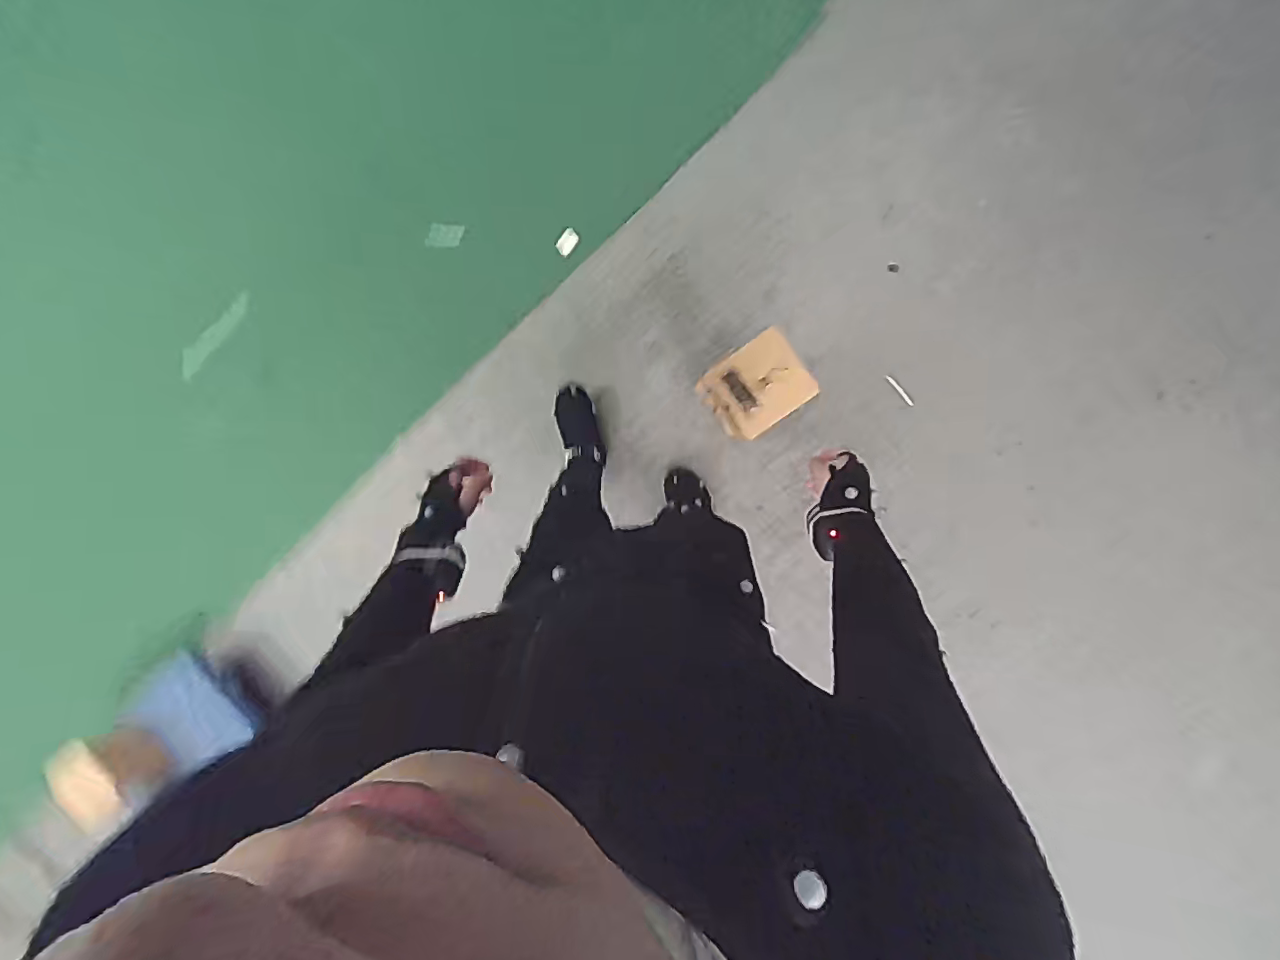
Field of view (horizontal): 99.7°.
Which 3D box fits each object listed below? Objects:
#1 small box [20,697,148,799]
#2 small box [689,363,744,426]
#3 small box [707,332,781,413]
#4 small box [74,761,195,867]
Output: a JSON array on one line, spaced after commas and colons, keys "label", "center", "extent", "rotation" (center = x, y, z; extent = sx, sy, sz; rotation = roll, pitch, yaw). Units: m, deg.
[{"label": "small box", "center": [-1.640, 0.789, 1.609], "extent": [0.168, 0.176, 0.179], "rotation": [-38, 94, 8]}, {"label": "small box", "center": [0.249, -0.264, 1.479], "extent": [0.179, 0.176, 0.168], "rotation": [-35, 94, 8]}, {"label": "small box", "center": [0.250, -0.256, 1.324], "extent": [0.168, 0.176, 0.179], "rotation": [-2, 97, 7]}, {"label": "small box", "center": [-1.508, 0.996, 1.625], "extent": [0.179, 0.176, 0.168], "rotation": [-36, 94, 8]}]
